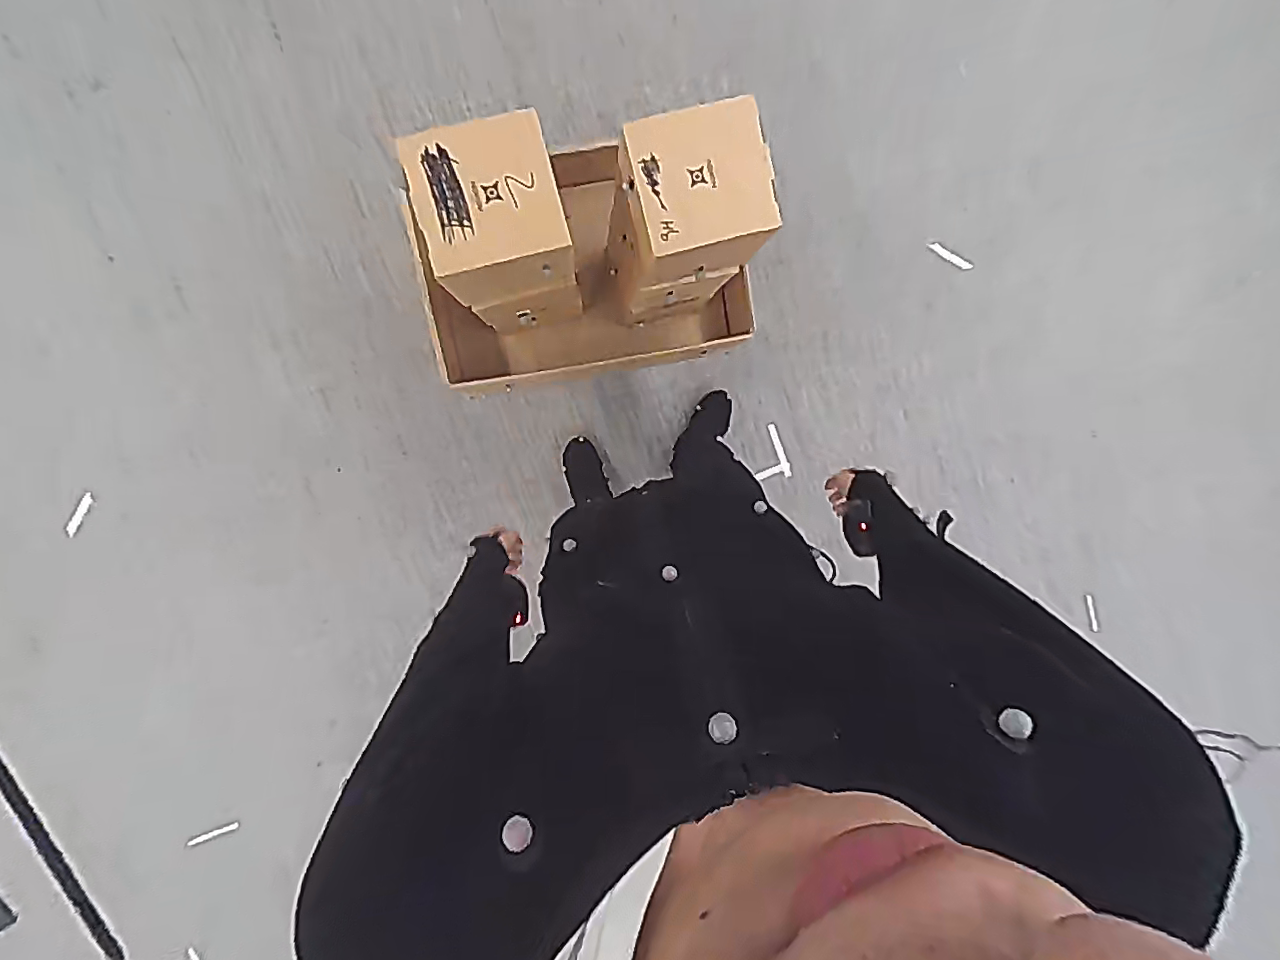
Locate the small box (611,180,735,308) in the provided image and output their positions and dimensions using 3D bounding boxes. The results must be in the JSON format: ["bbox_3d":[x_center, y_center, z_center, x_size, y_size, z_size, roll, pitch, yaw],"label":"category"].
[{"bbox_3d":[0.050,-0.403,0.924,0.168,0.176,0.179,-13,97,-5],"label":"small box"}]

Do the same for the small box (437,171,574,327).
[{"bbox_3d":[-0.212,-0.369,0.895,0.168,0.176,0.179,-16,98,-3],"label":"small box"}]

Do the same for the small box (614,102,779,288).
[{"bbox_3d":[0.070,-0.387,0.762,0.179,0.176,0.168,-15,97,-5],"label":"small box"}]

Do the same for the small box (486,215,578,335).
[{"bbox_3d":[-0.222,-0.390,1.058,0.179,0.176,0.168,-14,99,-6],"label":"small box"}]
